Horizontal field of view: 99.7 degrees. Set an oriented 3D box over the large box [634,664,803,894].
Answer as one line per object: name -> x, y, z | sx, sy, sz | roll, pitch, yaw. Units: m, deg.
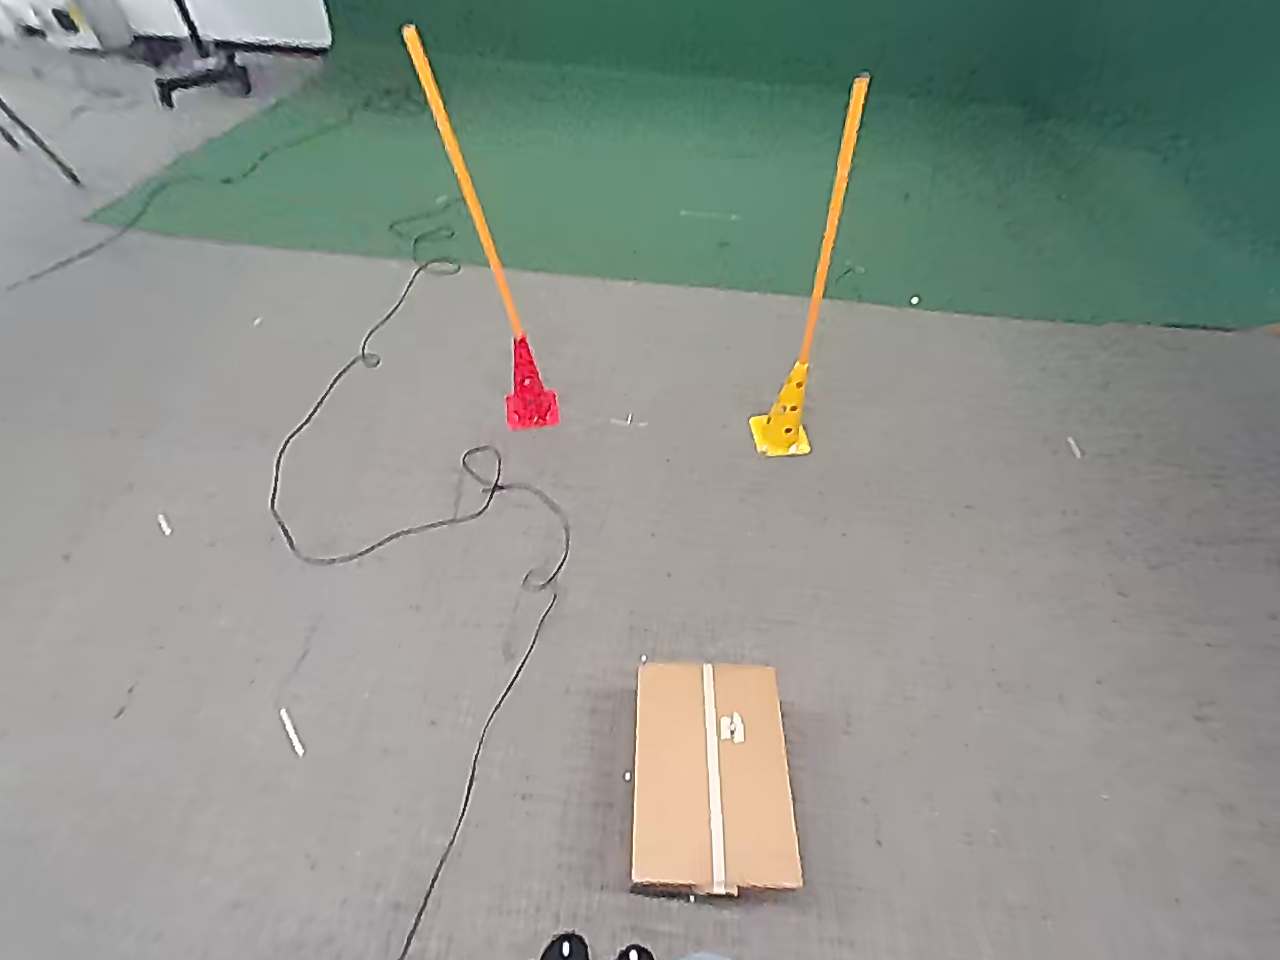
large box -> 0.144, 0.672, 1.217 | 0.320, 0.320, 0.408 | 3, 49, -1
